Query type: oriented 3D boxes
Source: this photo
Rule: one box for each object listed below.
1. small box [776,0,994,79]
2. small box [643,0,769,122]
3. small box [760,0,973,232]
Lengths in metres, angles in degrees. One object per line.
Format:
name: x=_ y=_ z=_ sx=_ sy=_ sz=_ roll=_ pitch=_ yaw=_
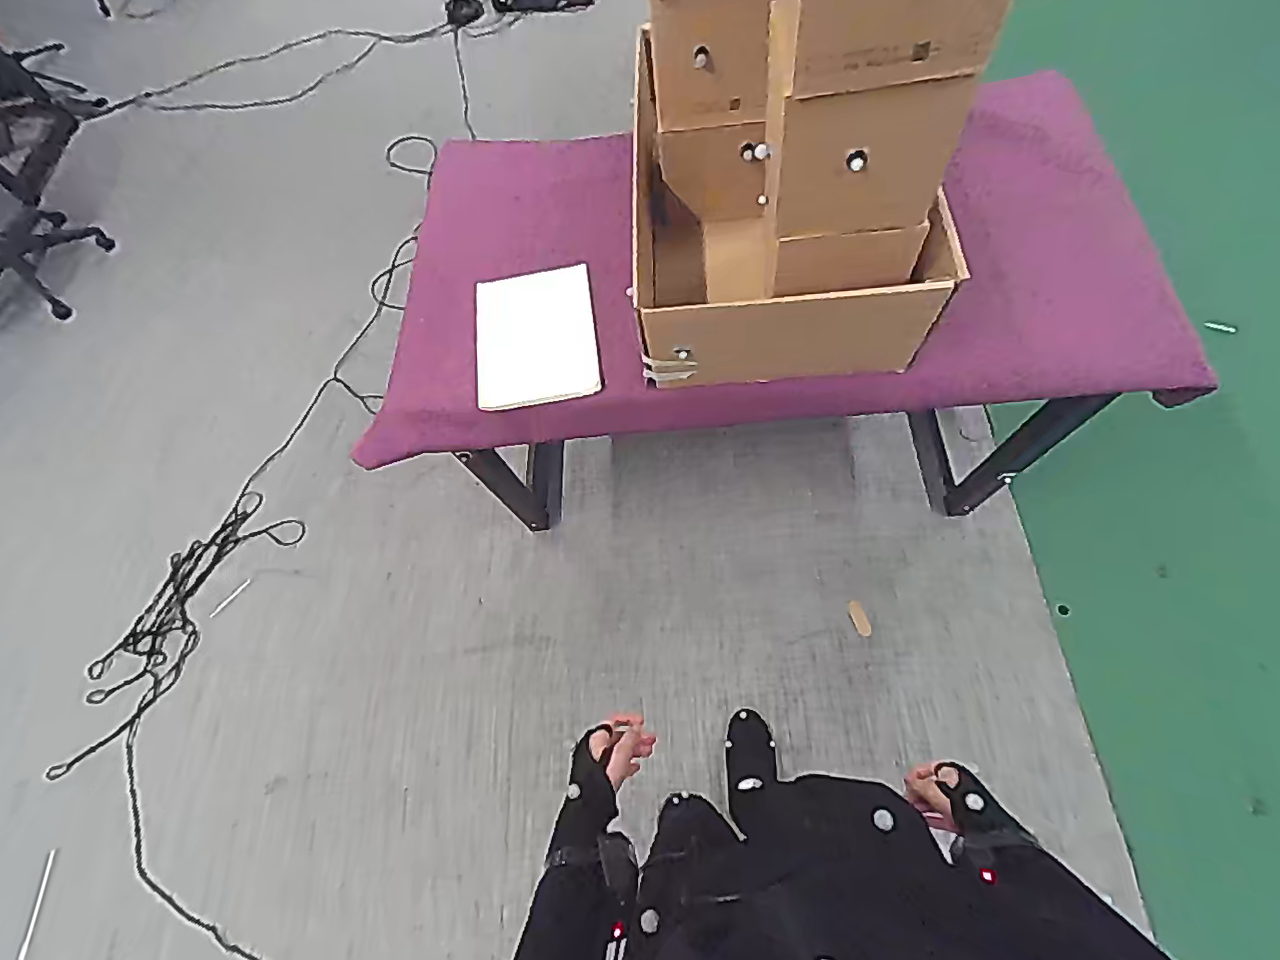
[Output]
small box: x=0.206 y=-0.470 z=0.452 sx=0.168 sy=0.176 sz=0.179 roll=-2 pitch=65 yaw=9
small box: x=0.097 y=-0.605 z=0.712 sx=0.168 sy=0.176 sz=0.179 roll=-2 pitch=69 yaw=8
small box: x=0.229 y=-0.406 z=0.600 sx=0.179 sy=0.176 sz=0.168 roll=-3 pitch=65 yaw=10
